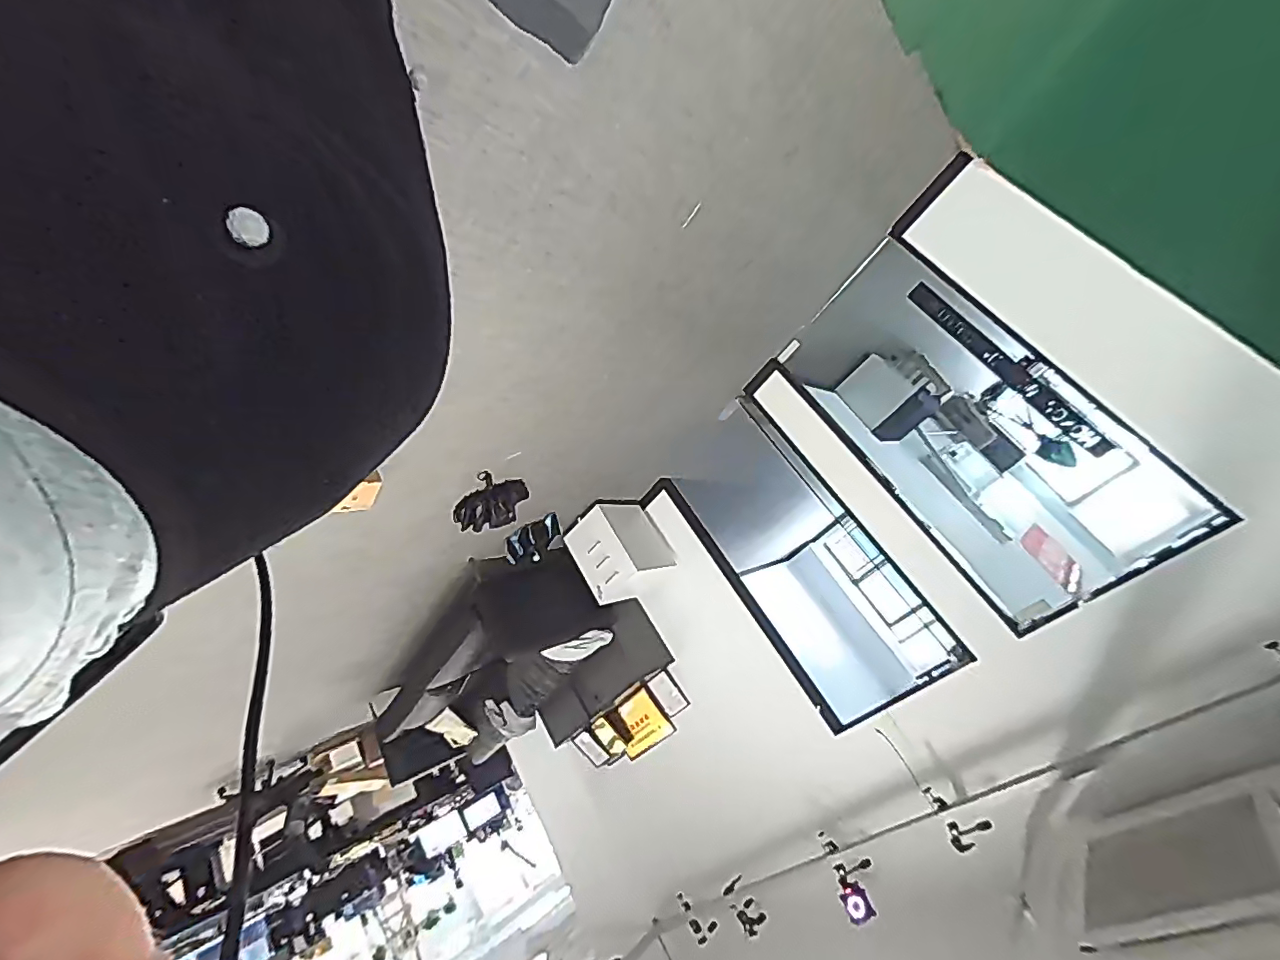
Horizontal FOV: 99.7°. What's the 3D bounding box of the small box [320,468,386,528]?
[{"bbox_3d":[-1.143,0.064,2.145,0.168,0.176,0.179,-5,142,-49],"label":"small box"}]
